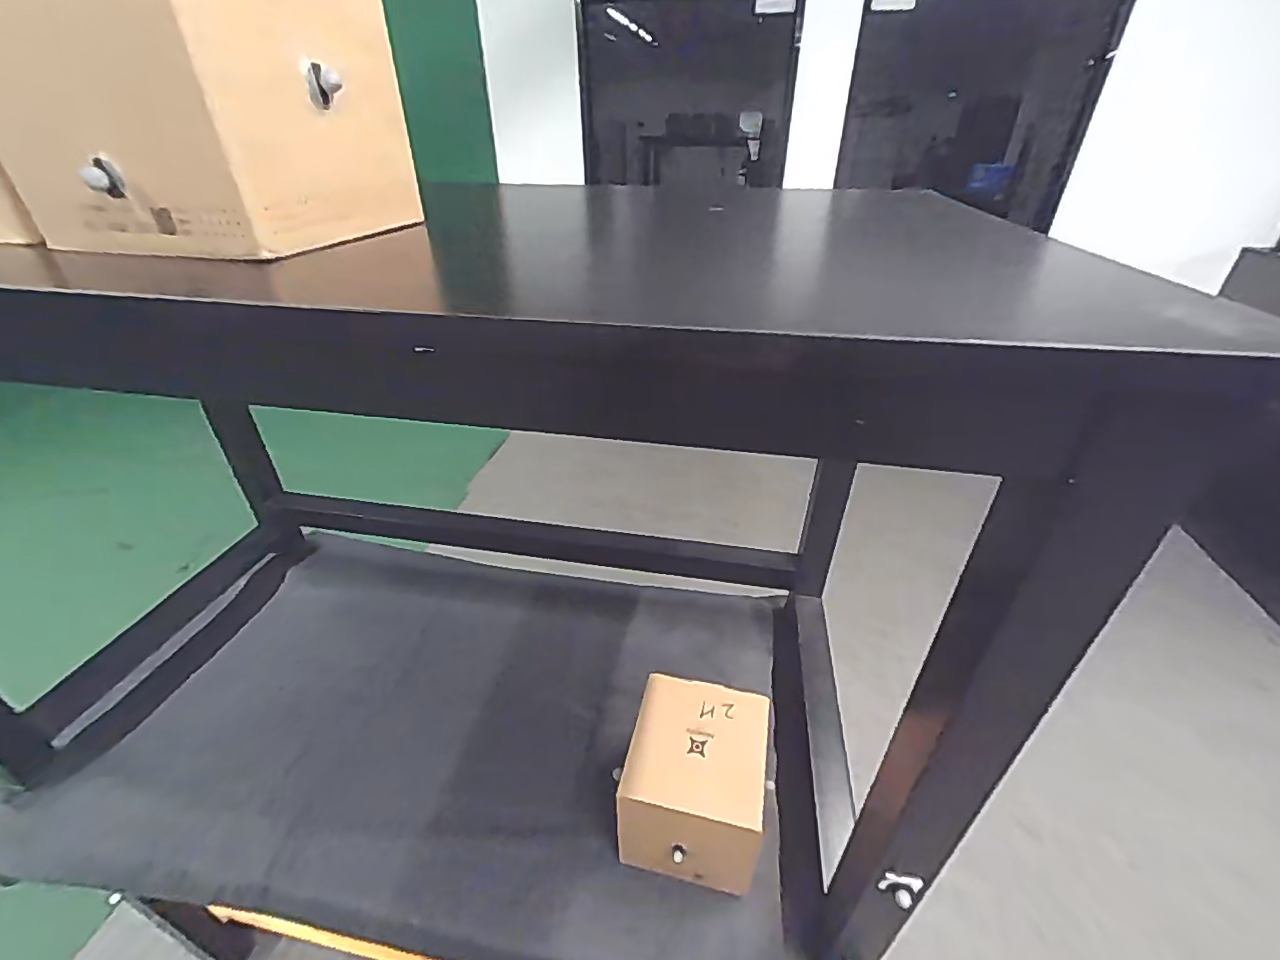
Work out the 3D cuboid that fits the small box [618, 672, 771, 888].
[{"bbox_3d":[0.075,0.393,0.714,0.168,0.176,0.179,9,33,12],"label":"small box"}]
